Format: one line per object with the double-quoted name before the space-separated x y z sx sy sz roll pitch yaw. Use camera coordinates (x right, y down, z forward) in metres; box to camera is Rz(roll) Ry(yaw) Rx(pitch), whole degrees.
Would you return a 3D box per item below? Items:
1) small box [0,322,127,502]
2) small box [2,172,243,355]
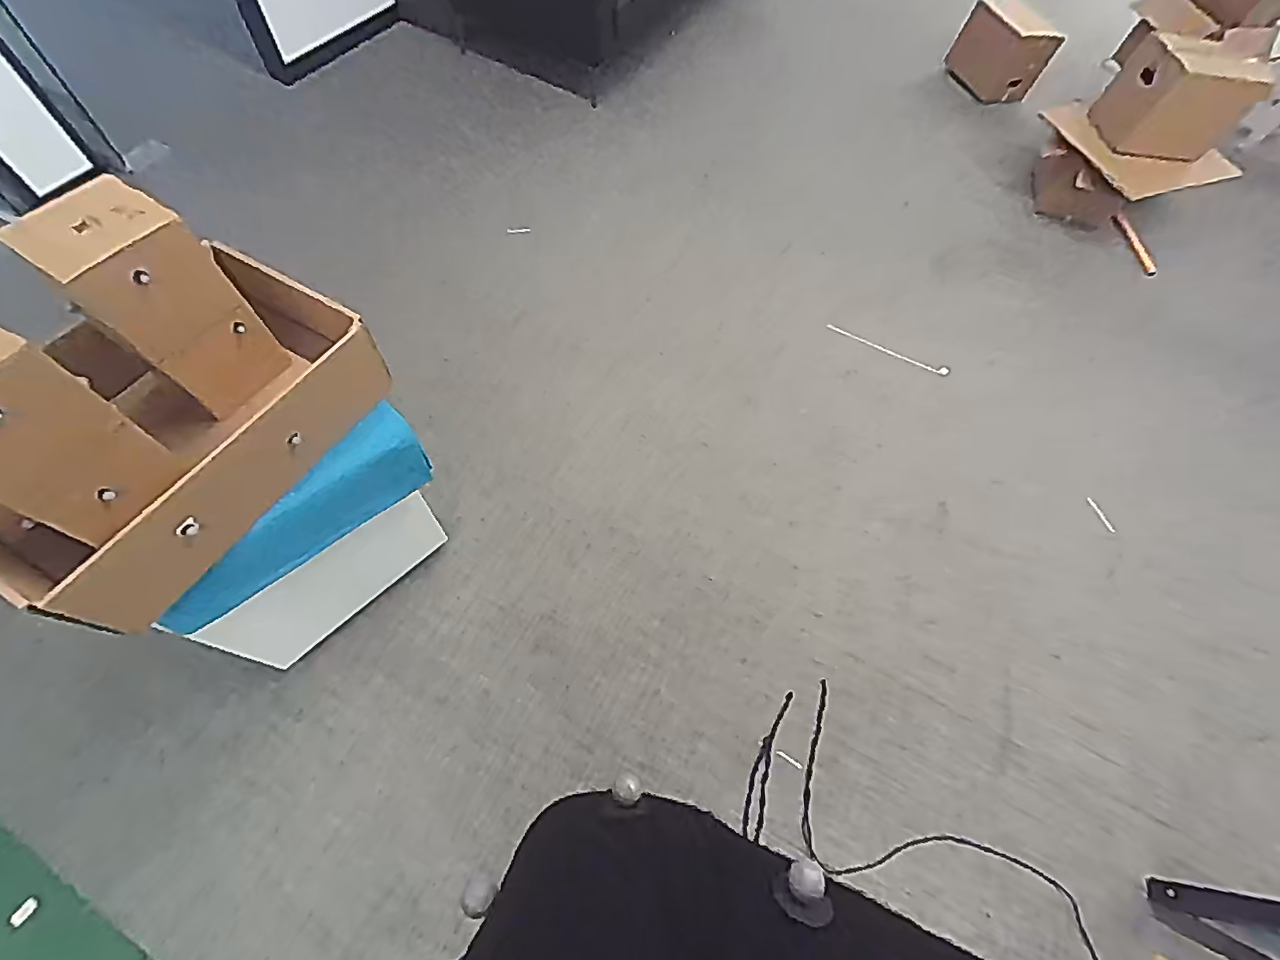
"small box" -0.857 -0.098 0.711 0.168 0.176 0.179 23 62 8
"small box" -0.780 -0.328 0.839 0.168 0.176 0.179 32 64 12
